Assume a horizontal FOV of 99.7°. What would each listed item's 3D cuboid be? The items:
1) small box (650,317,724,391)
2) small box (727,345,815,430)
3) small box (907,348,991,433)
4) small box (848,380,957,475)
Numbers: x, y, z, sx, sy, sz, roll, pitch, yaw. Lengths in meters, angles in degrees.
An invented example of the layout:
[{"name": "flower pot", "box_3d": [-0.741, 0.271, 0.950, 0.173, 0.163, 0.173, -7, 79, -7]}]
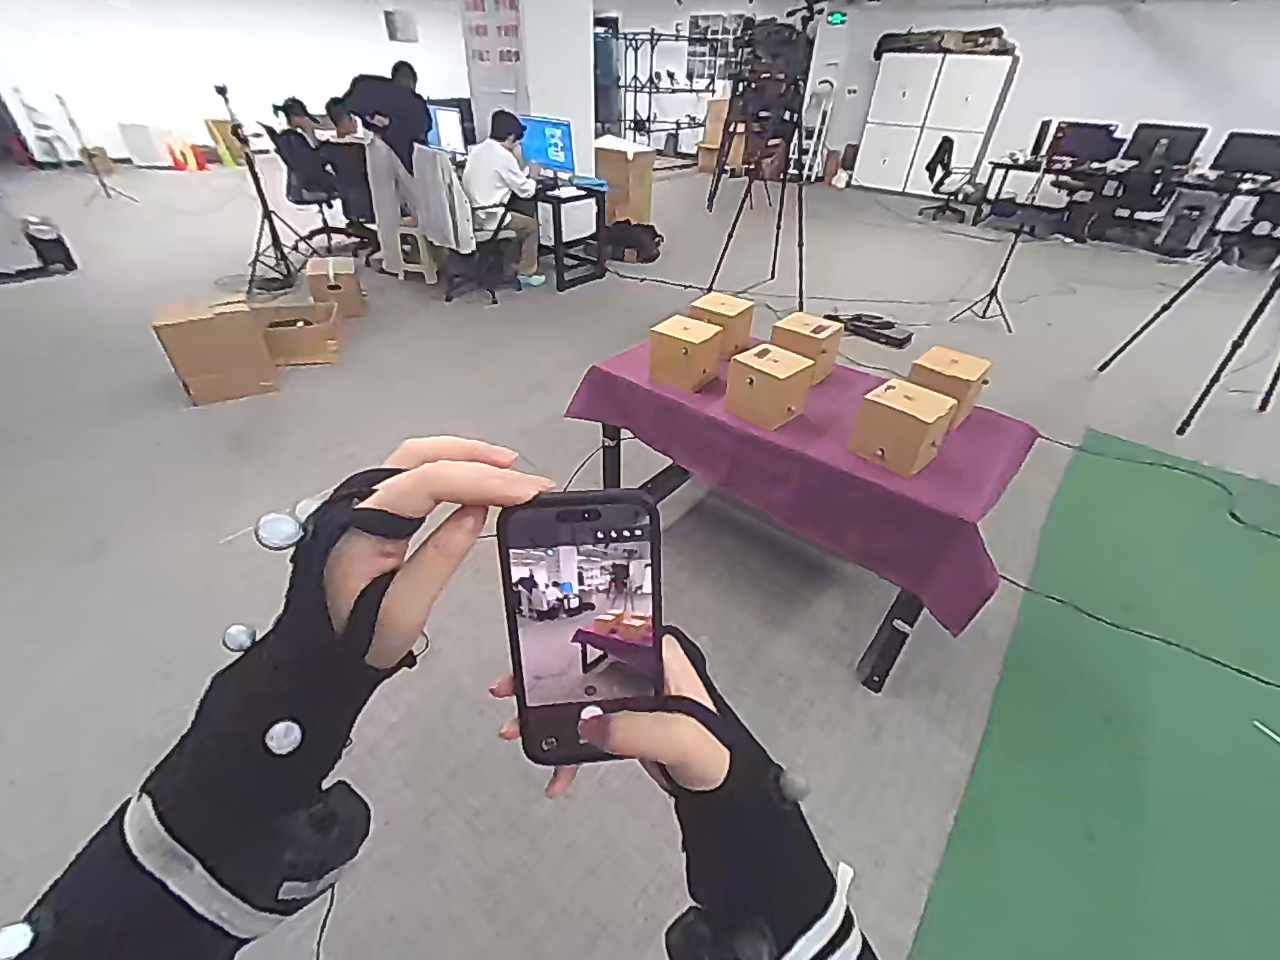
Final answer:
[{"name": "small box", "box_3d": [0.145, -0.405, 1.740, 0.179, 0.176, 0.168, 25, 42, 25]}, {"name": "small box", "box_3d": [0.374, -0.270, 1.575, 0.168, 0.176, 0.179, -29, 48, -35]}, {"name": "small box", "box_3d": [0.893, -0.265, 1.599, 0.168, 0.176, 0.179, 31, 46, 33]}, {"name": "small box", "box_3d": [0.678, -0.133, 1.412, 0.168, 0.176, 0.179, -27, 47, -34]}]
